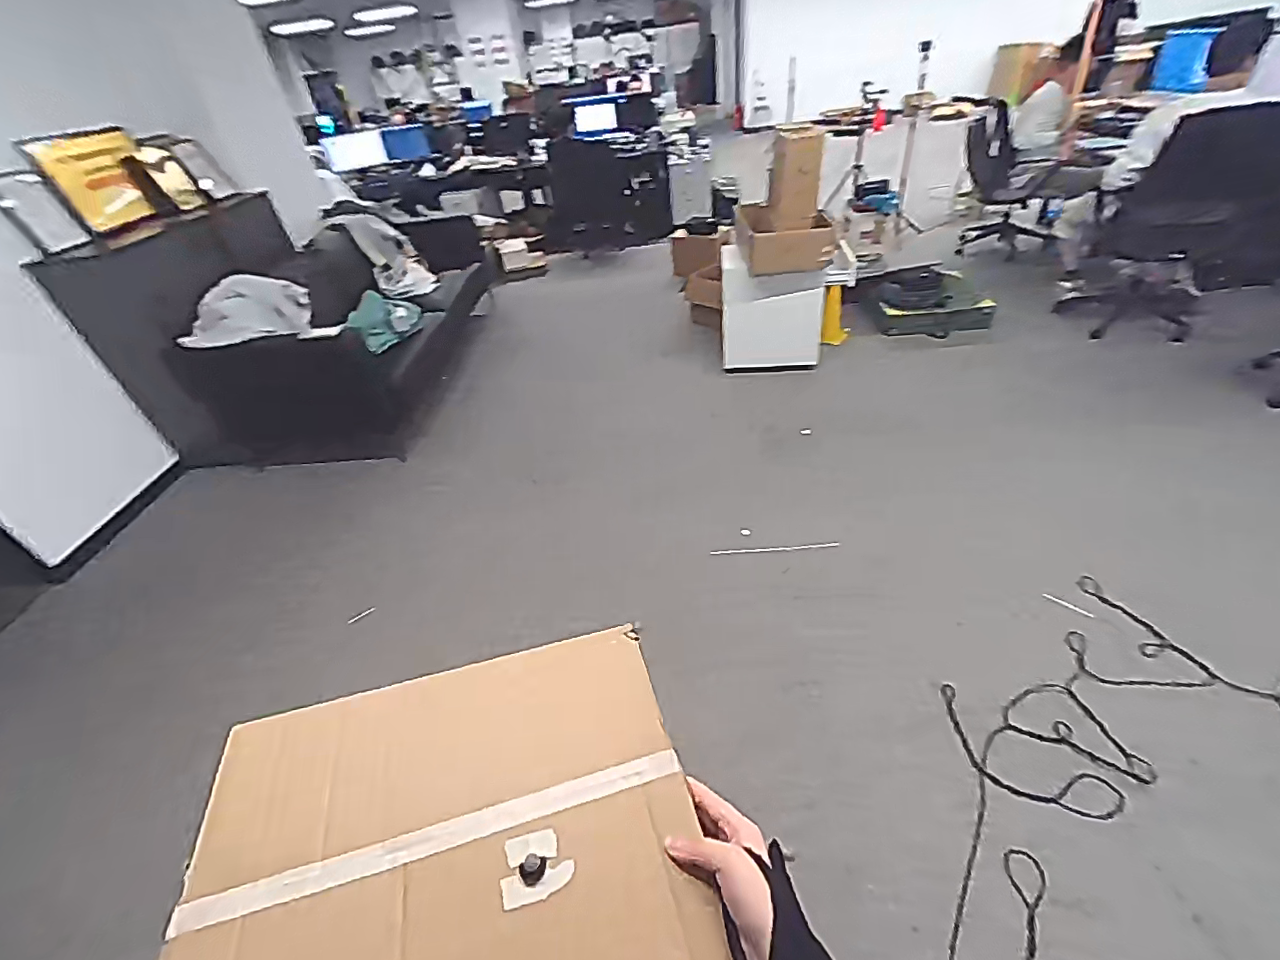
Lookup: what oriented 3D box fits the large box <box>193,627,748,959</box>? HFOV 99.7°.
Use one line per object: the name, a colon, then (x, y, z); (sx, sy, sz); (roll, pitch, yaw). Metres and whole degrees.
large box: (-0.149, 0.413, 0.560); (0.408, 0.320, 0.320); (-10, 41, -12)
